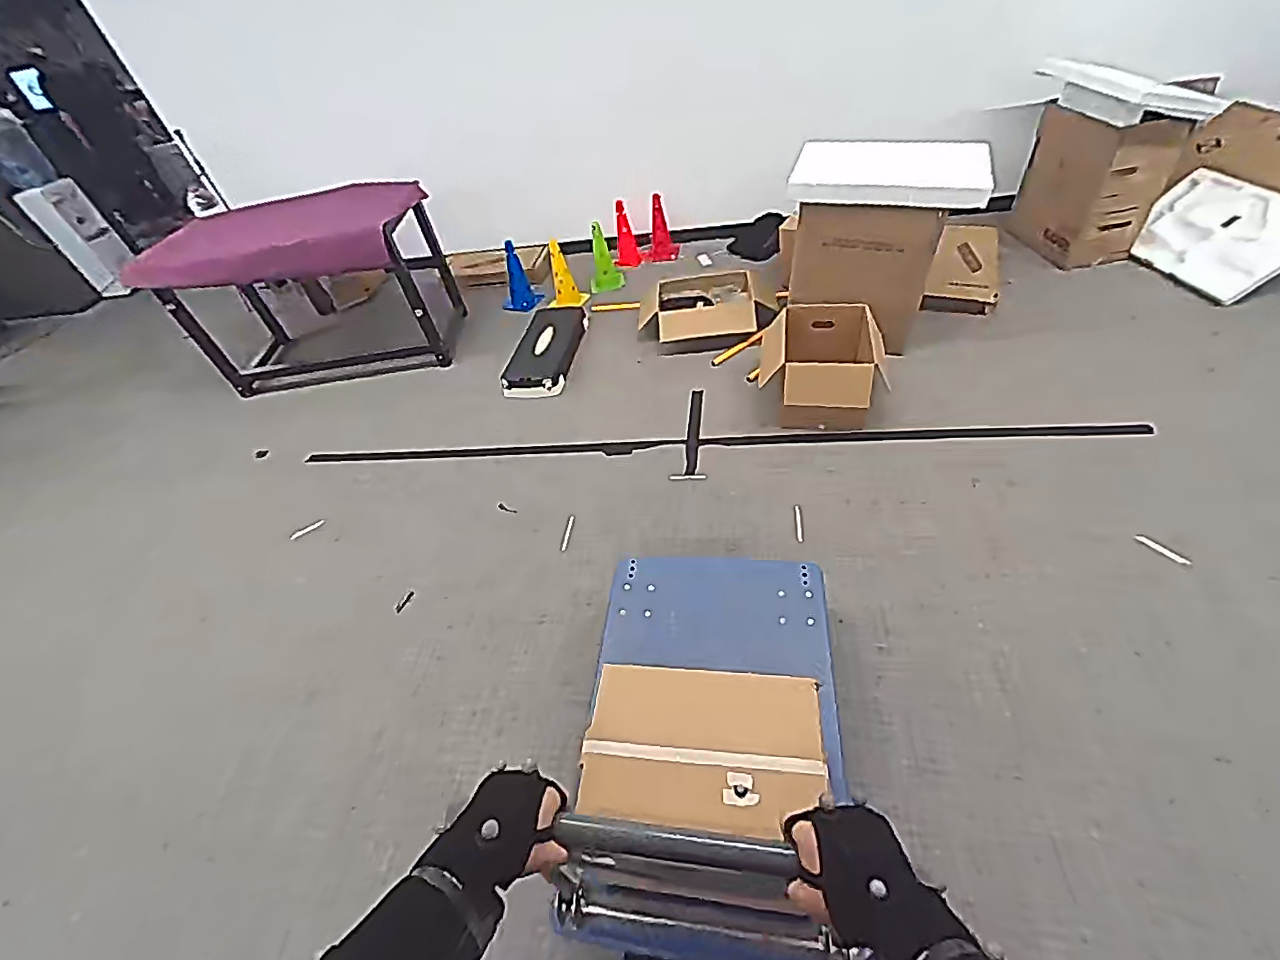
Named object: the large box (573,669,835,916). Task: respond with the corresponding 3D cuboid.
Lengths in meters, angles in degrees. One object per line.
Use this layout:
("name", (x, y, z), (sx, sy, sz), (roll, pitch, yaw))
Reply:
("large box", (0.122, 0.582, 1.017), (0.408, 0.320, 0.320), (1, 46, 10))
